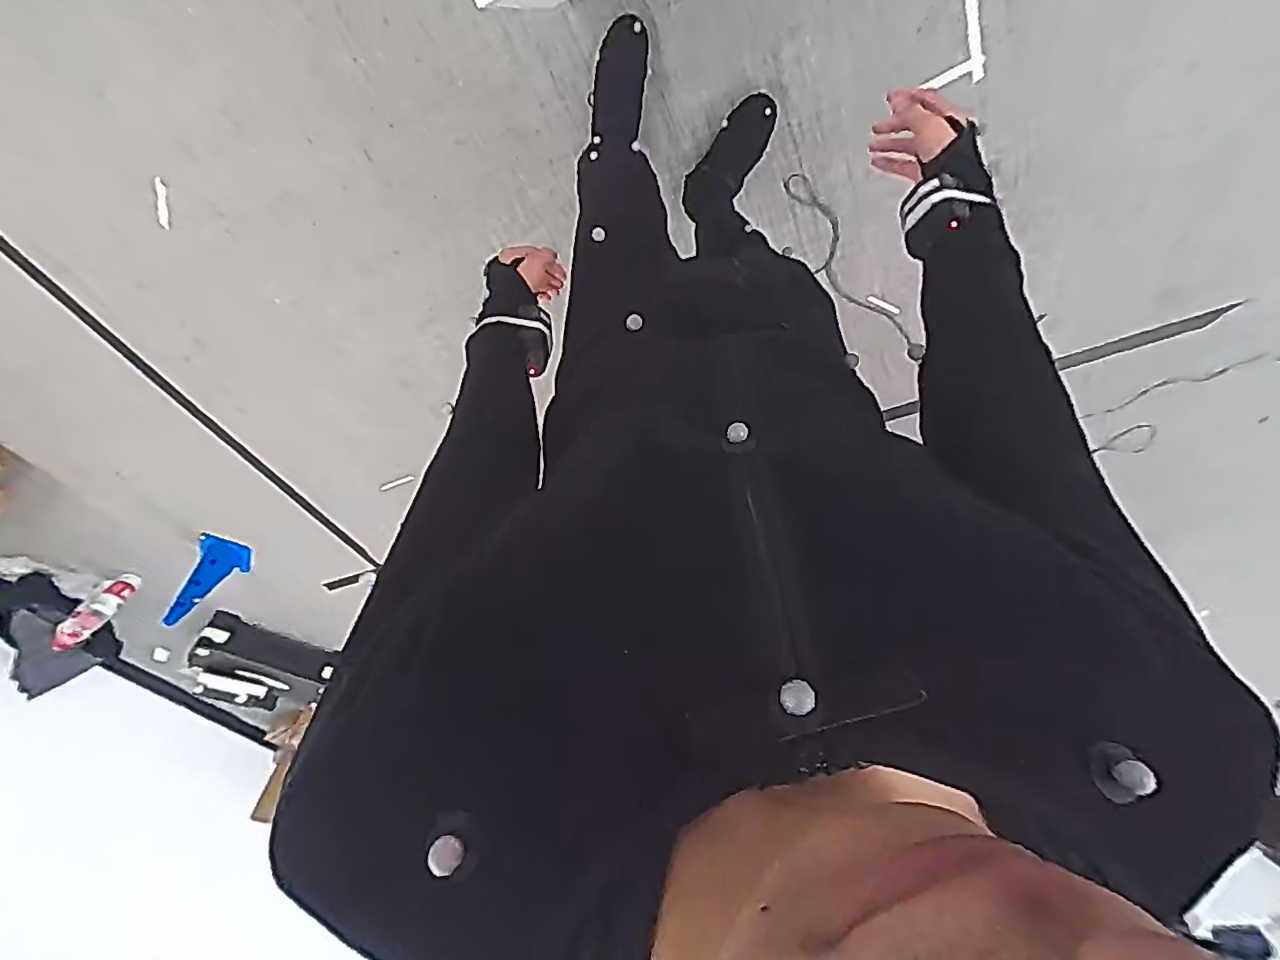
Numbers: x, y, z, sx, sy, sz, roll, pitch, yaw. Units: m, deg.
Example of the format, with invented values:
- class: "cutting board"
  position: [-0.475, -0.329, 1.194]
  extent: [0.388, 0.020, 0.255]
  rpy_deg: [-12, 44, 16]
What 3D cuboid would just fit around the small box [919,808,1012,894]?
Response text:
- class: "small box"
  position: [0.919, 1.052, 1.537]
  extent: [0.179, 0.176, 0.168]
  rpy_deg: [-16, 128, 16]
